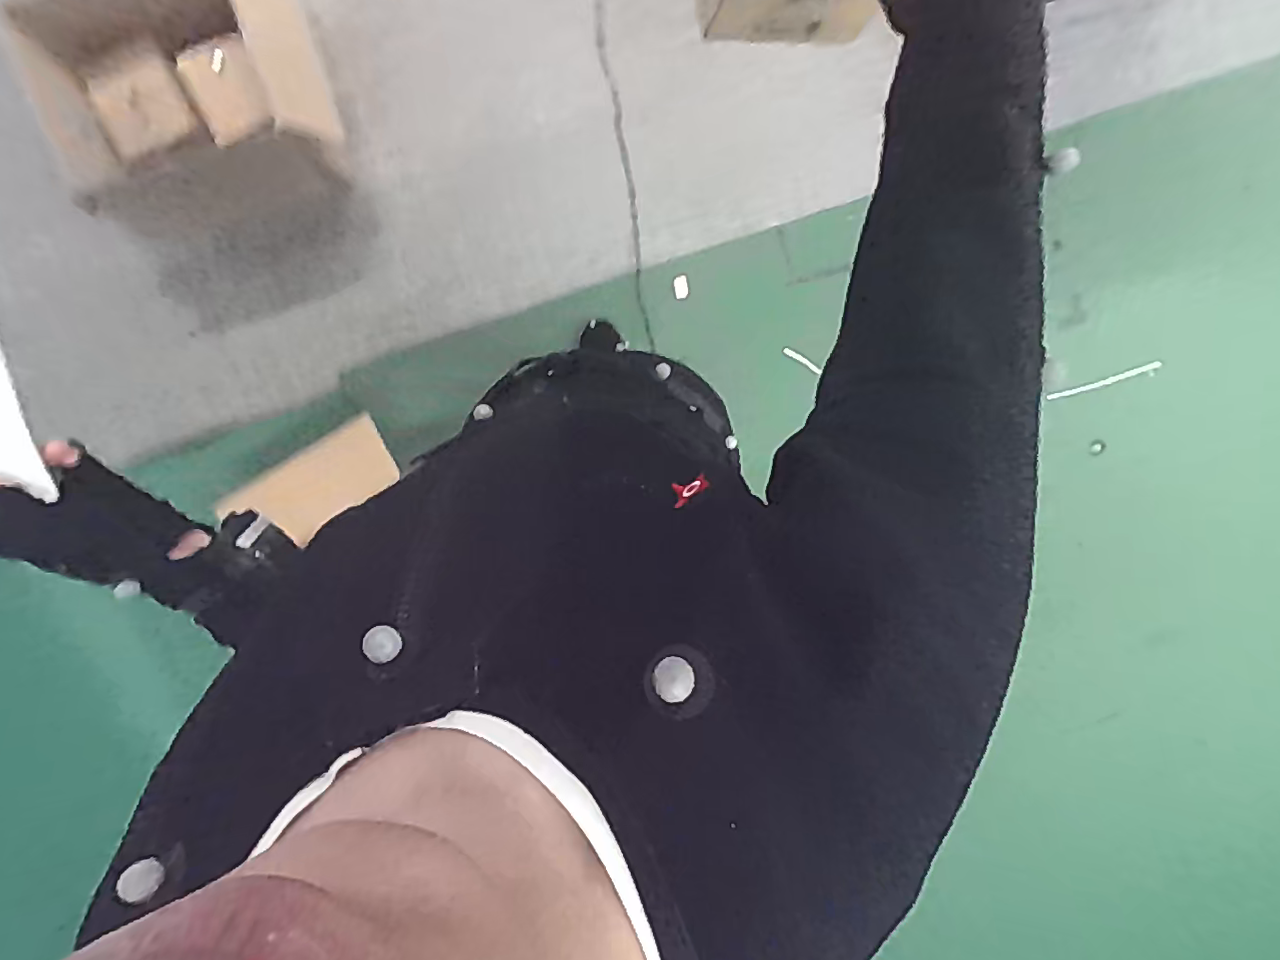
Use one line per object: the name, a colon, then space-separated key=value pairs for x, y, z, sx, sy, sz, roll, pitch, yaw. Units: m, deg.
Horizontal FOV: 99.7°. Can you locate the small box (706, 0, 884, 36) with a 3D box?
small box: x=0.147 y=-0.501 z=0.429 sx=0.168 sy=0.176 sz=0.179 roll=-11 pitch=93 yaw=-16
